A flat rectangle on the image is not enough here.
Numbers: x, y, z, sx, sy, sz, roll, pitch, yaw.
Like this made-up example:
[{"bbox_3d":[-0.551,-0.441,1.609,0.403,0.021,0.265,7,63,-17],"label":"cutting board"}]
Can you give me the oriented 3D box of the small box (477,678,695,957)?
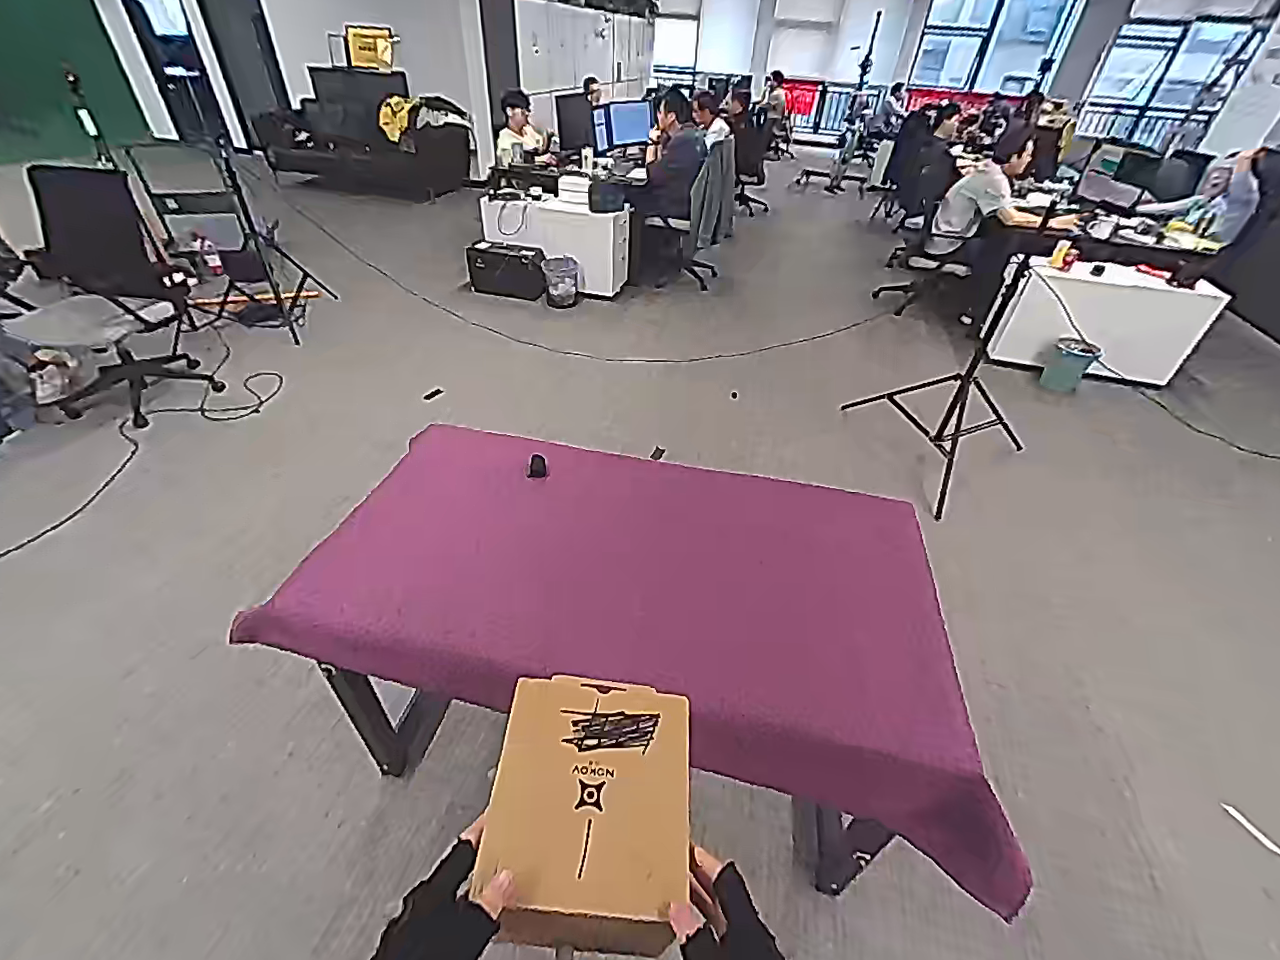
[{"bbox_3d":[-0.045,0.316,0.510,0.168,0.176,0.179,6,41,-2],"label":"small box"}]
